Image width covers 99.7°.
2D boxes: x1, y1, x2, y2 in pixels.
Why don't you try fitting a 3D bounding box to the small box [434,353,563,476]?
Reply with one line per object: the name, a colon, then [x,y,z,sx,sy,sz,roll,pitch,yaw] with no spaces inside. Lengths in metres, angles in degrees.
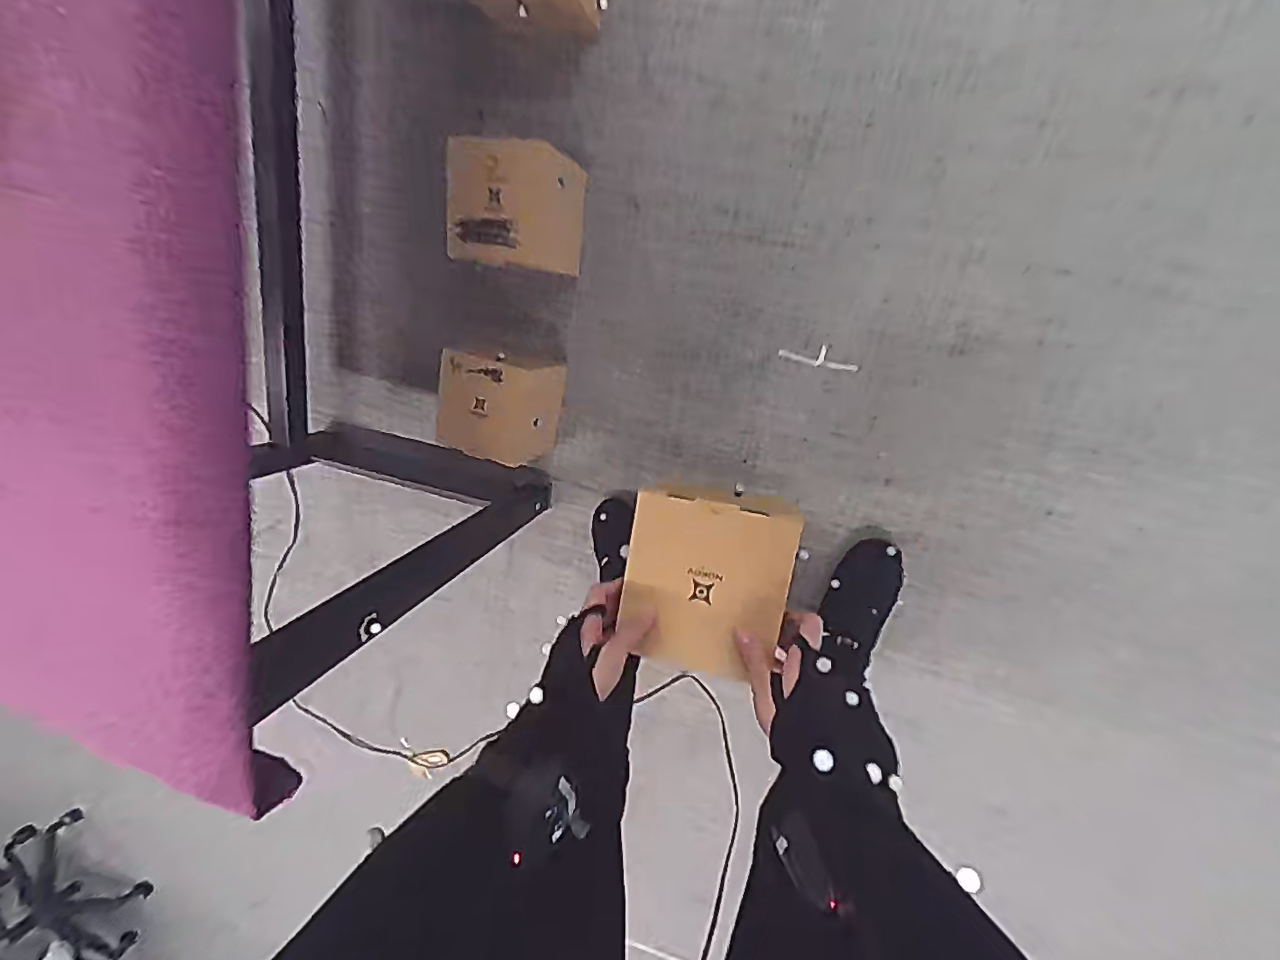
small box: [-0.257,-0.130,1.005,0.168,0.176,0.179,17,109,12]
